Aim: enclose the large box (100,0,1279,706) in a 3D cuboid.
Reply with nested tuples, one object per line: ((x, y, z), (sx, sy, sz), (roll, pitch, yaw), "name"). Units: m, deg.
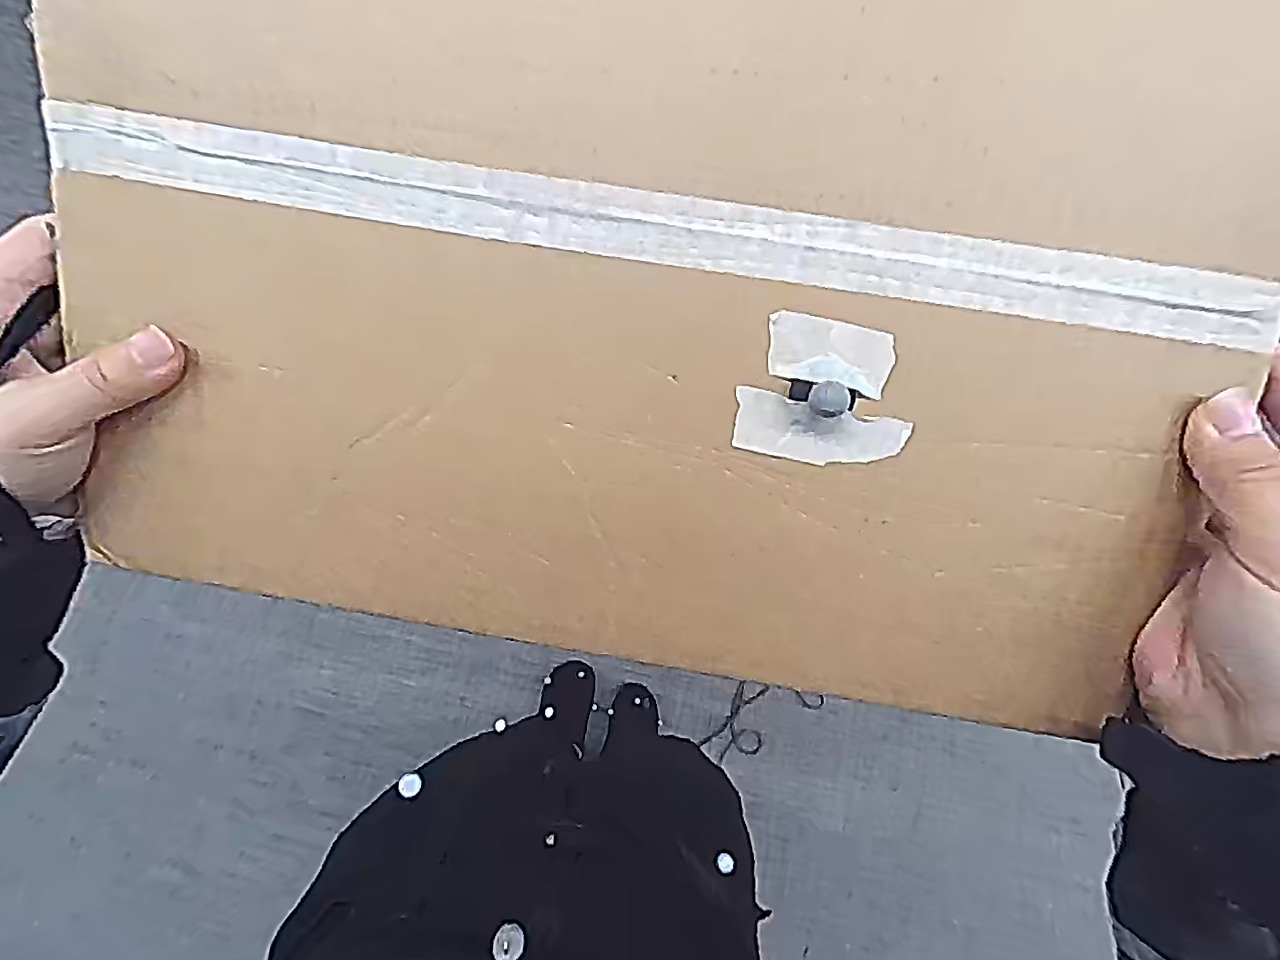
((0.012, -0.112, 0.335), (0.408, 0.320, 0.320), (9, 103, 1), "large box")
